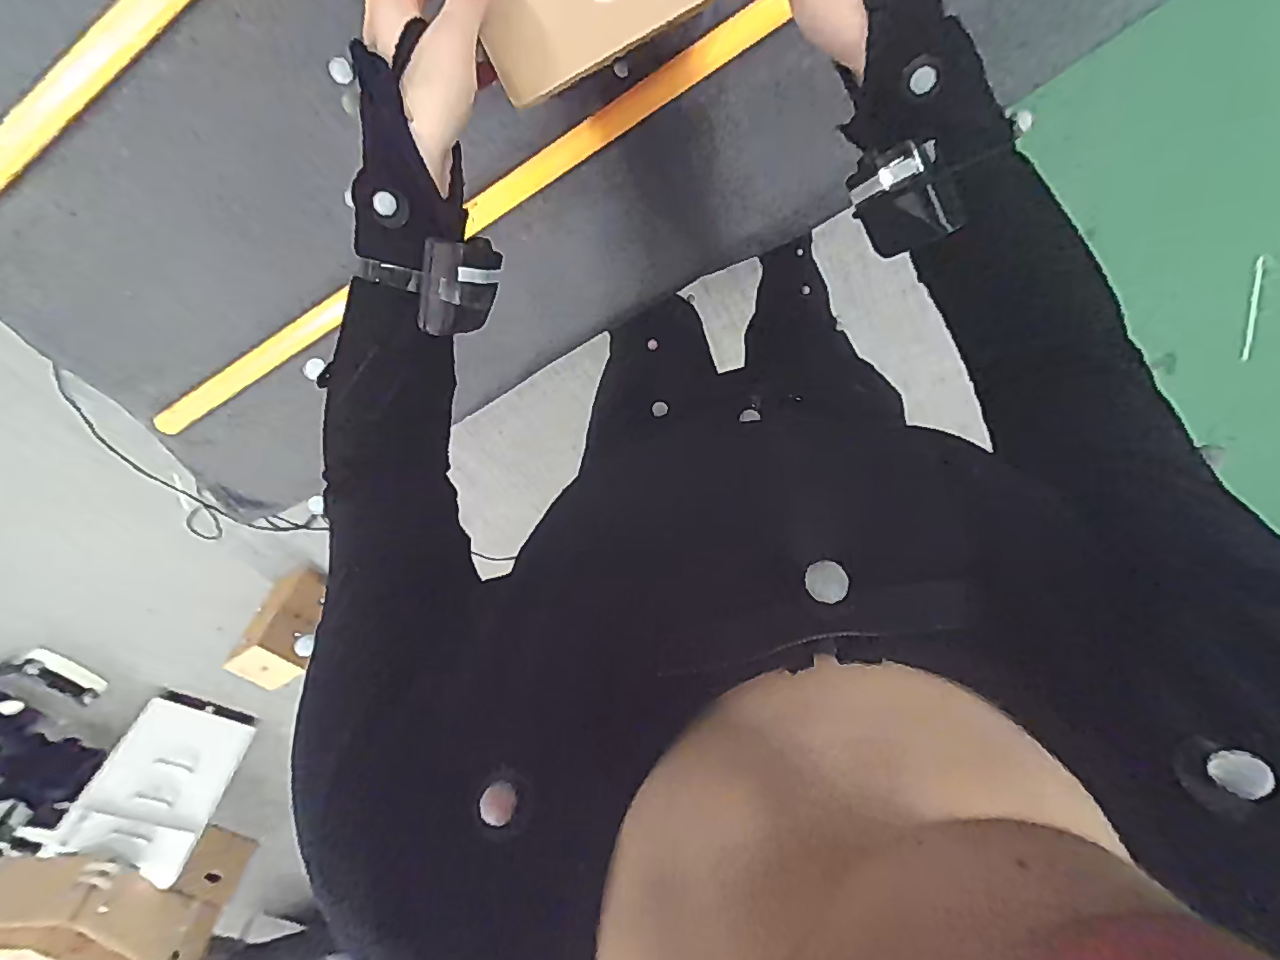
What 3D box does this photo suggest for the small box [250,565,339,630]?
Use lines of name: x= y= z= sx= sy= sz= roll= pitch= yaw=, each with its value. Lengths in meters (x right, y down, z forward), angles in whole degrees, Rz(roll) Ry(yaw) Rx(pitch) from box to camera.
small box: x=-1.151 y=0.418 z=1.823 sx=0.179 sy=0.176 sz=0.168 roll=-28 pitch=124 yaw=18

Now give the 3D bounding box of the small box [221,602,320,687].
small box: x=-1.139 y=0.511 z=1.688 sx=0.179 sy=0.176 sz=0.168 roll=-29 pitch=123 yaw=19
